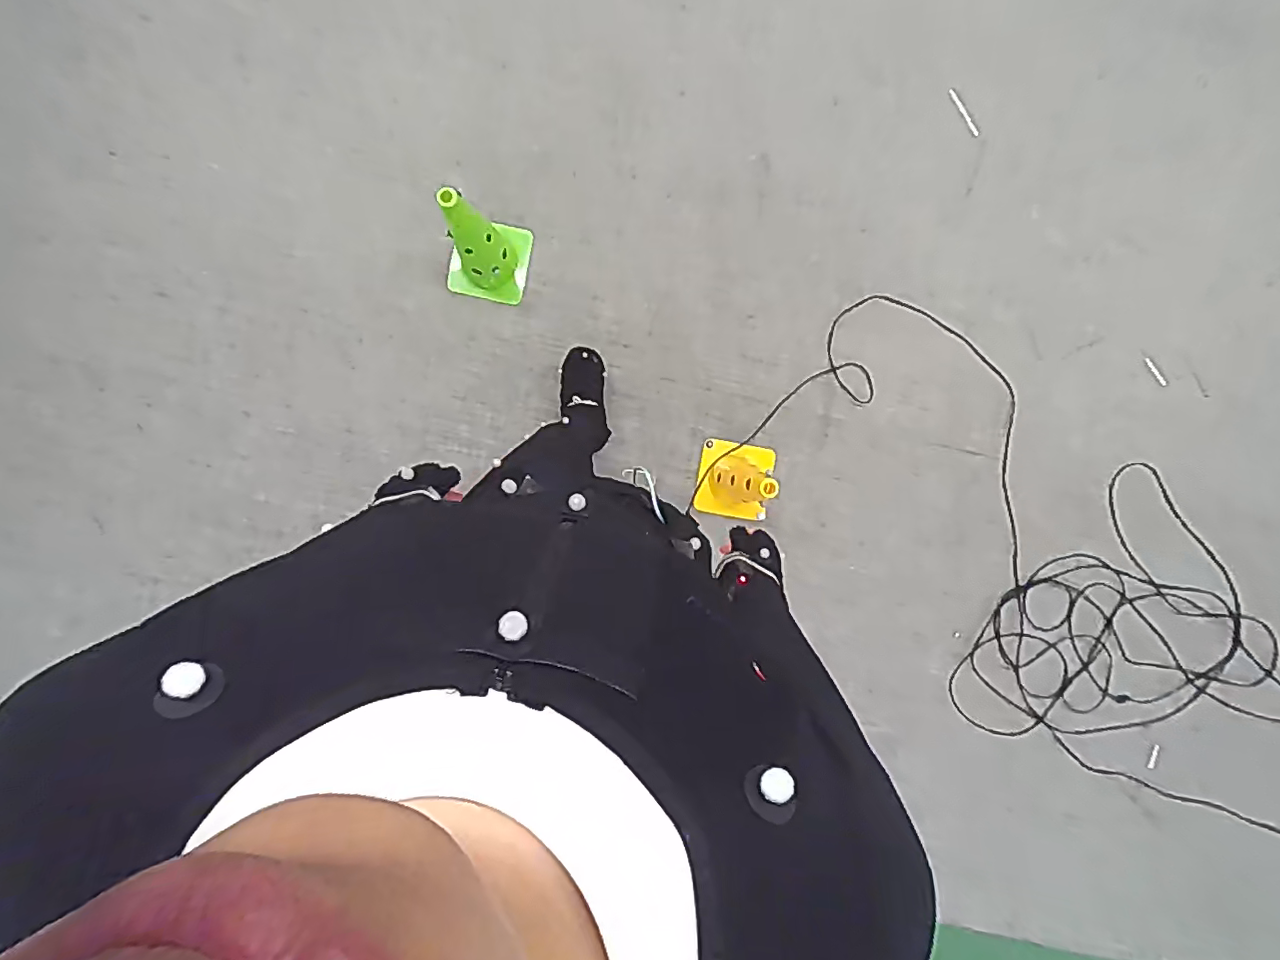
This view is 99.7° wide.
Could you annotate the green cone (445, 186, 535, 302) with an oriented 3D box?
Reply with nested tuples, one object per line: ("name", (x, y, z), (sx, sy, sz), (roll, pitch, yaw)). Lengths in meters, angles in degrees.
("green cone", (-0.383, -0.575, 1.256), (0.202, 0.368, 0.200), (12, 93, -3))
